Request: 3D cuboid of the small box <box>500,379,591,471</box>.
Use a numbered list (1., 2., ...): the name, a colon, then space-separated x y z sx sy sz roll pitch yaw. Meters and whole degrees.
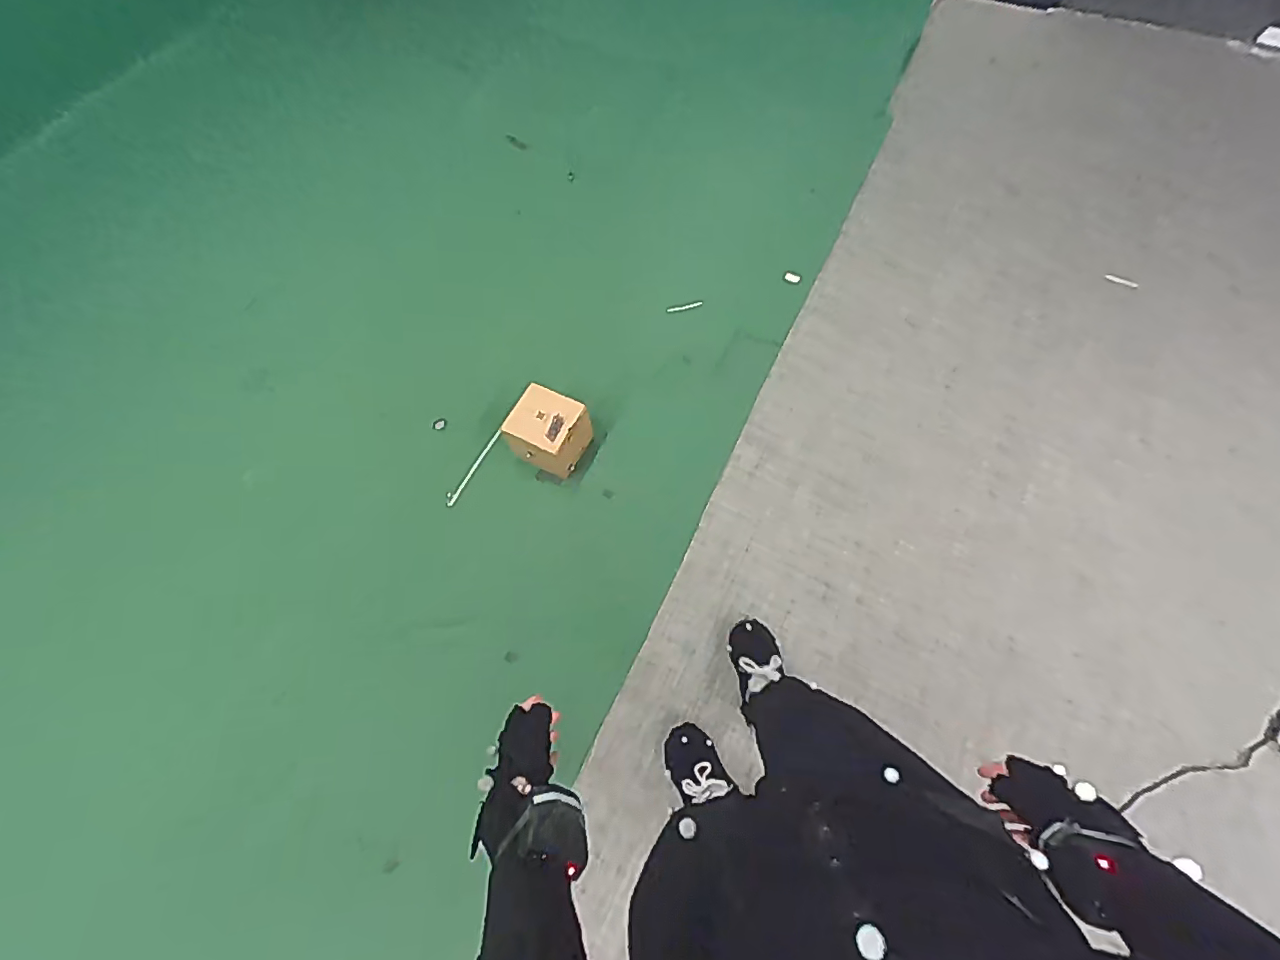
1. small box: -0.254 -0.144 1.509 0.179 0.176 0.168 25 70 13
